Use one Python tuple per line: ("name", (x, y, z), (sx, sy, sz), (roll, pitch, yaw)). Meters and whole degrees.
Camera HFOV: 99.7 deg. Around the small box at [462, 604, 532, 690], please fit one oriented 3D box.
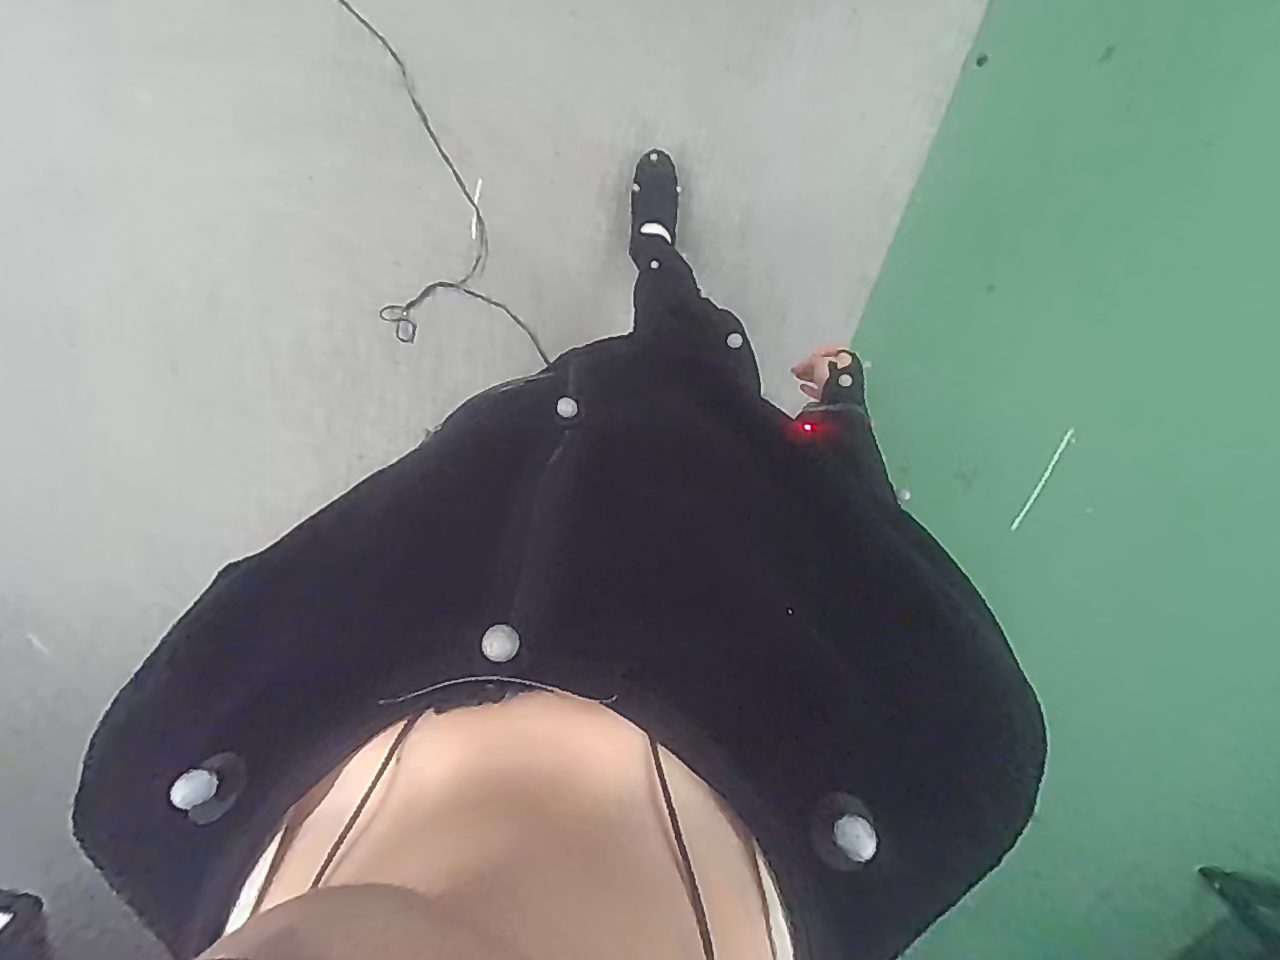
("small box", (-0.436, 0.509, 1.667), (0.168, 0.176, 0.179), (12, 113, -3))
